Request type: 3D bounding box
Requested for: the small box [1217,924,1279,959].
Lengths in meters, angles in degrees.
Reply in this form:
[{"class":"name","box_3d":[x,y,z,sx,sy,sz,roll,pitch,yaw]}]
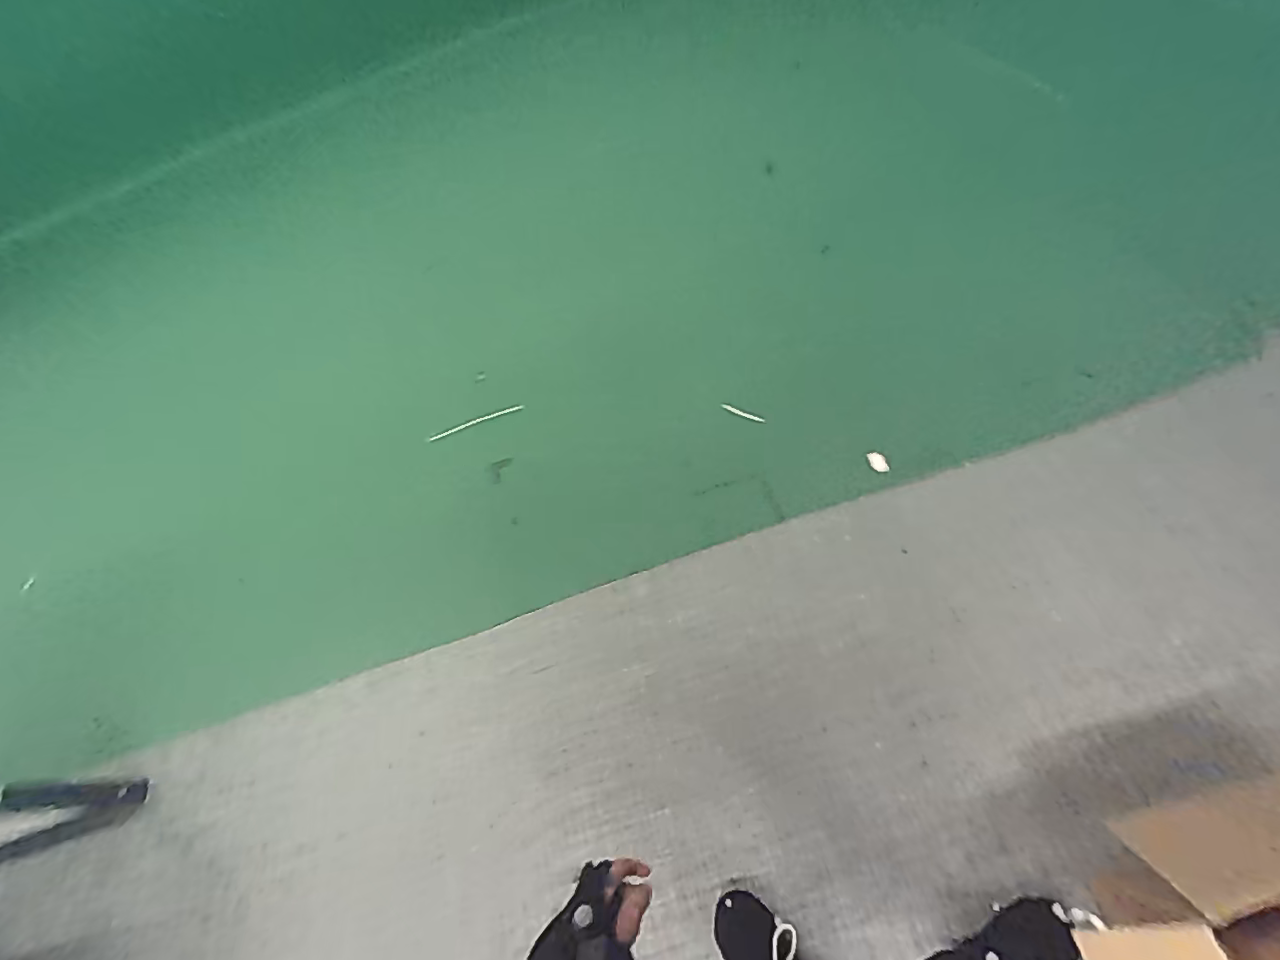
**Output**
[{"class":"small box","box_3d":[0.867,0.642,0.631,0.179,0.176,0.168,-18,62,7]}]
